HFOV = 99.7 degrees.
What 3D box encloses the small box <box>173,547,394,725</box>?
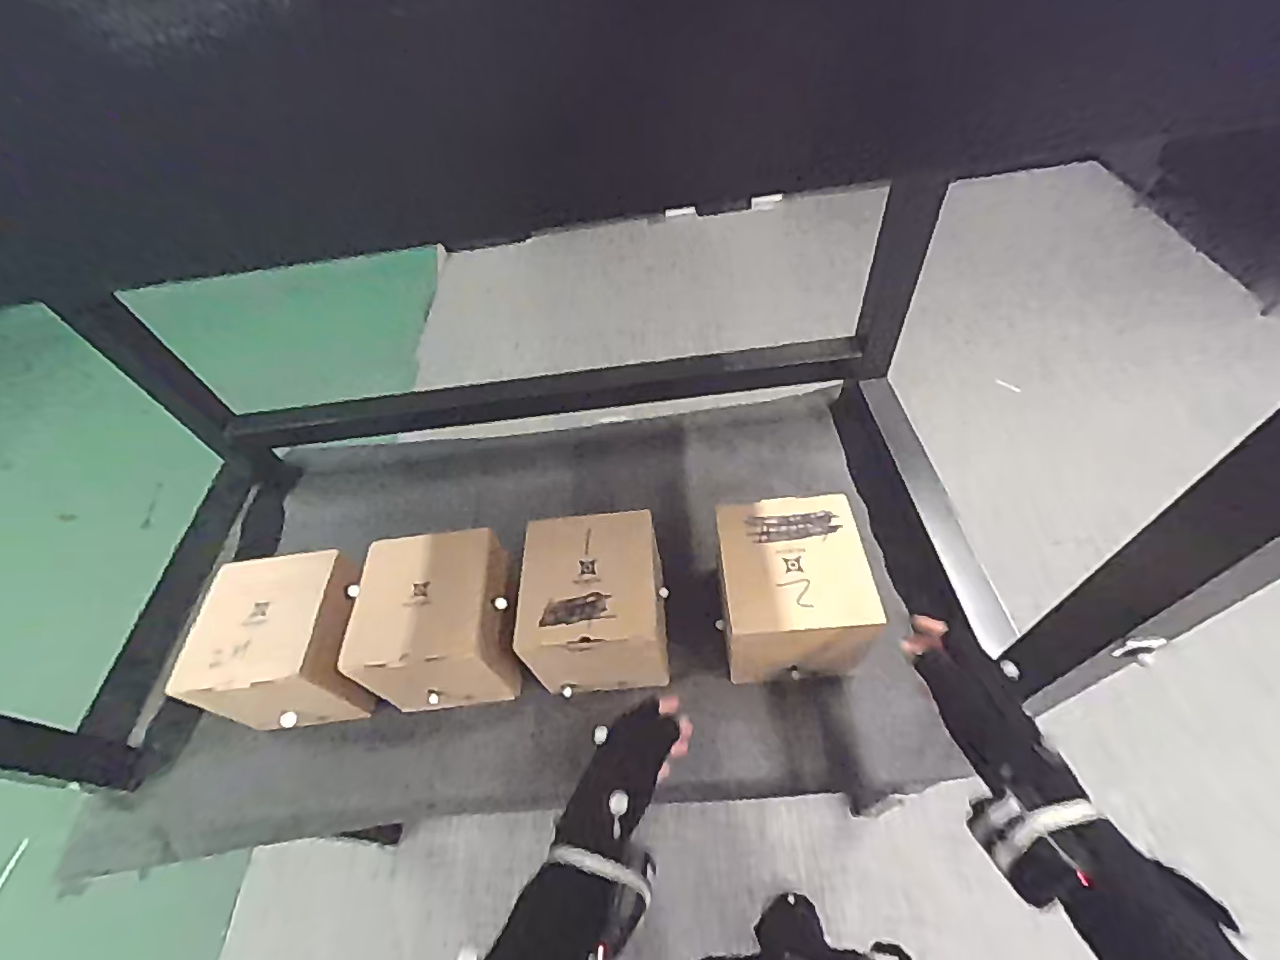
[{"bbox_3d":[-0.464,0.216,0.743,0.168,0.176,0.179,-8,51,3],"label":"small box"}]
